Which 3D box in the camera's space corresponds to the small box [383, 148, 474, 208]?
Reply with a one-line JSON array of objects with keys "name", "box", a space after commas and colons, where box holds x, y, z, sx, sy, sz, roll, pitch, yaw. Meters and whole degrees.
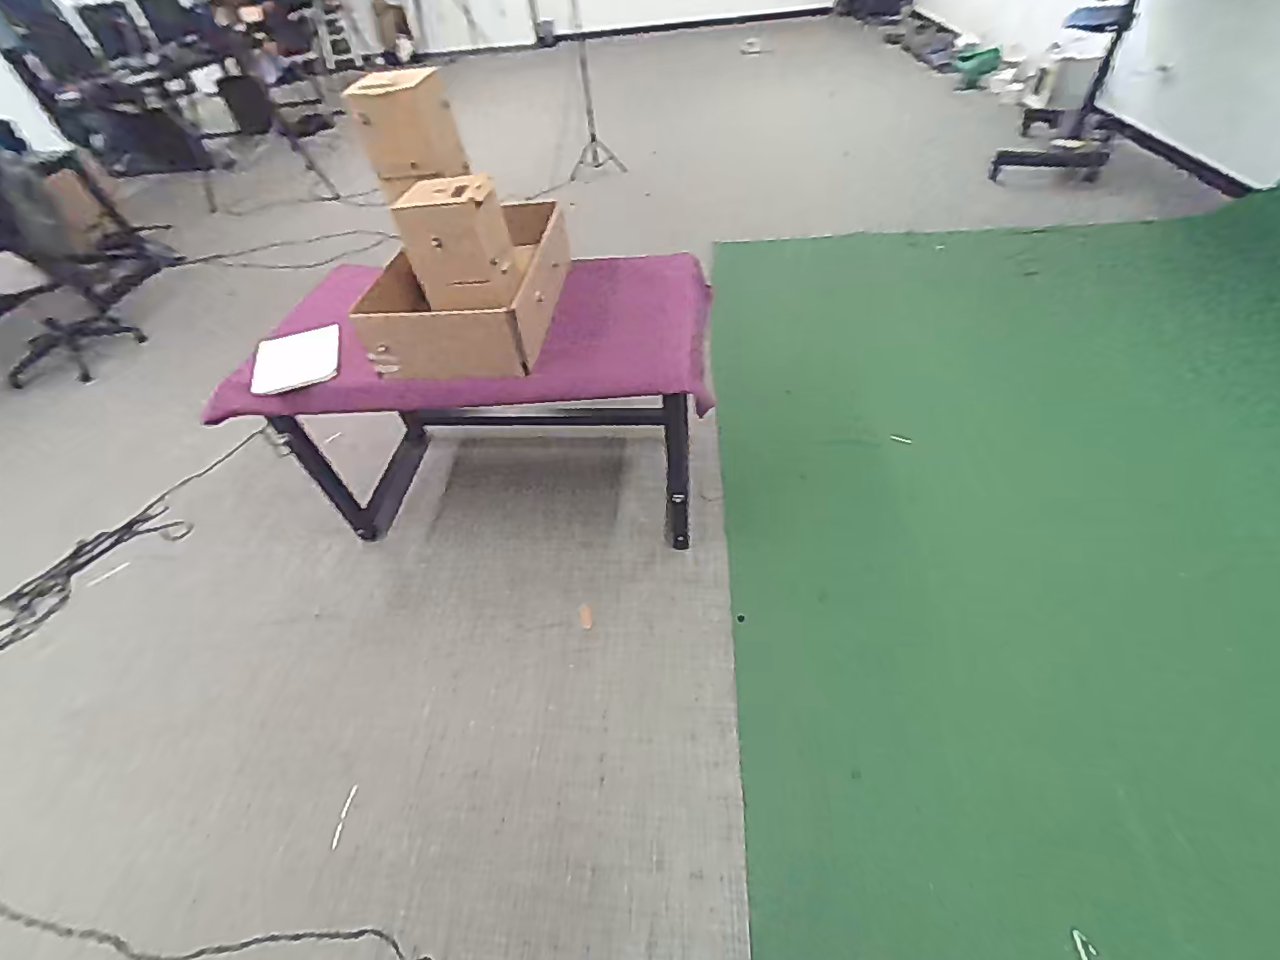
[{"name": "small box", "box": [-0.515, -0.723, 1.385, 0.168, 0.176, 0.179, 2, 49, 9]}]

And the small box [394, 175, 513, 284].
[{"name": "small box", "box": [-0.405, -0.558, 1.210, 0.179, 0.176, 0.168, 0, 46, 10]}]
